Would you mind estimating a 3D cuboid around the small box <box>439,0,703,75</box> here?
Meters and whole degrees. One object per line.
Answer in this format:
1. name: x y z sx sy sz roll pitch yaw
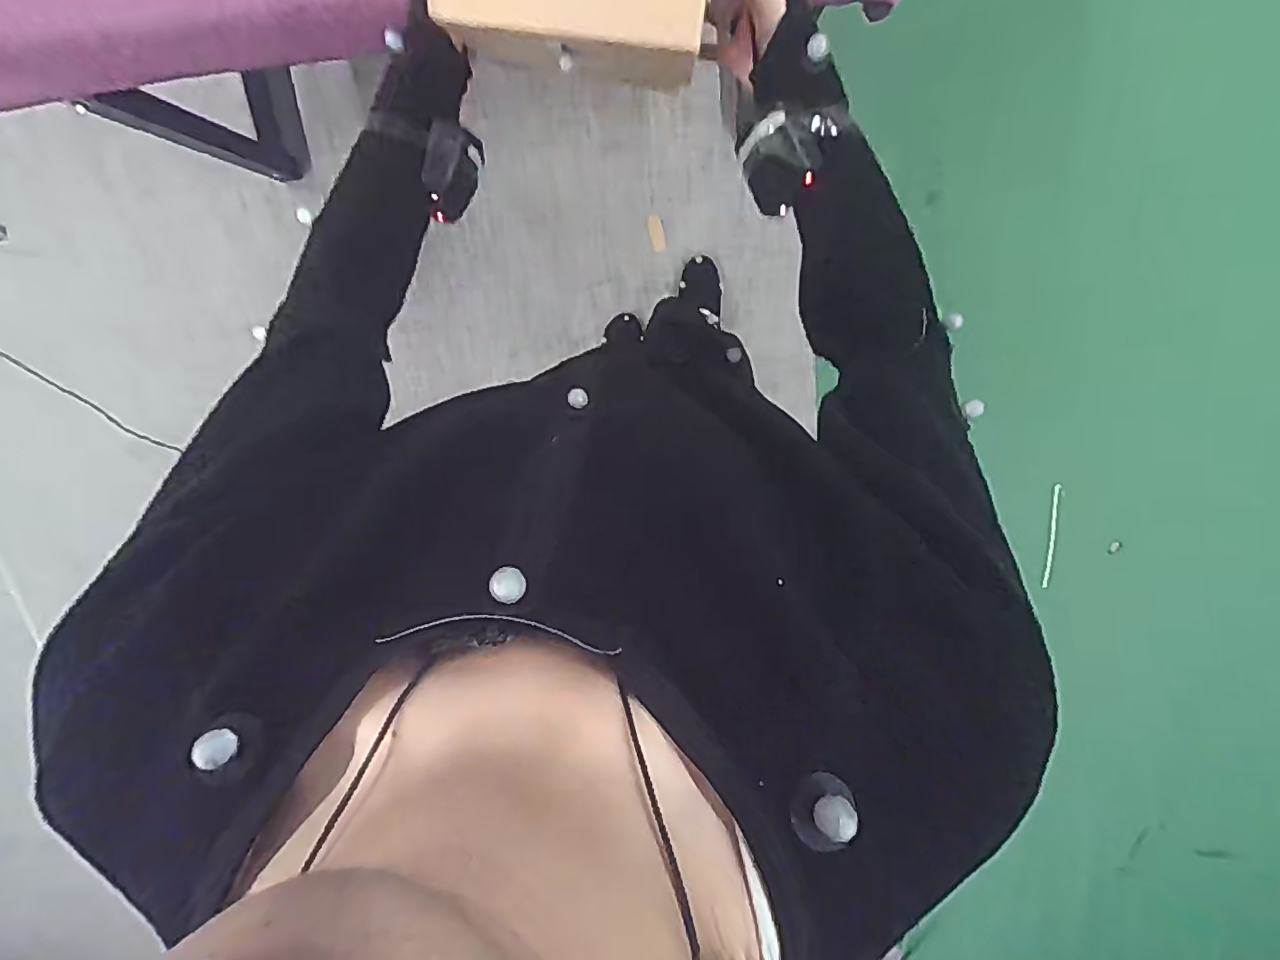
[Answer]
1. small box: -0.036 -0.397 0.368 0.179 0.176 0.168 7 119 -1
